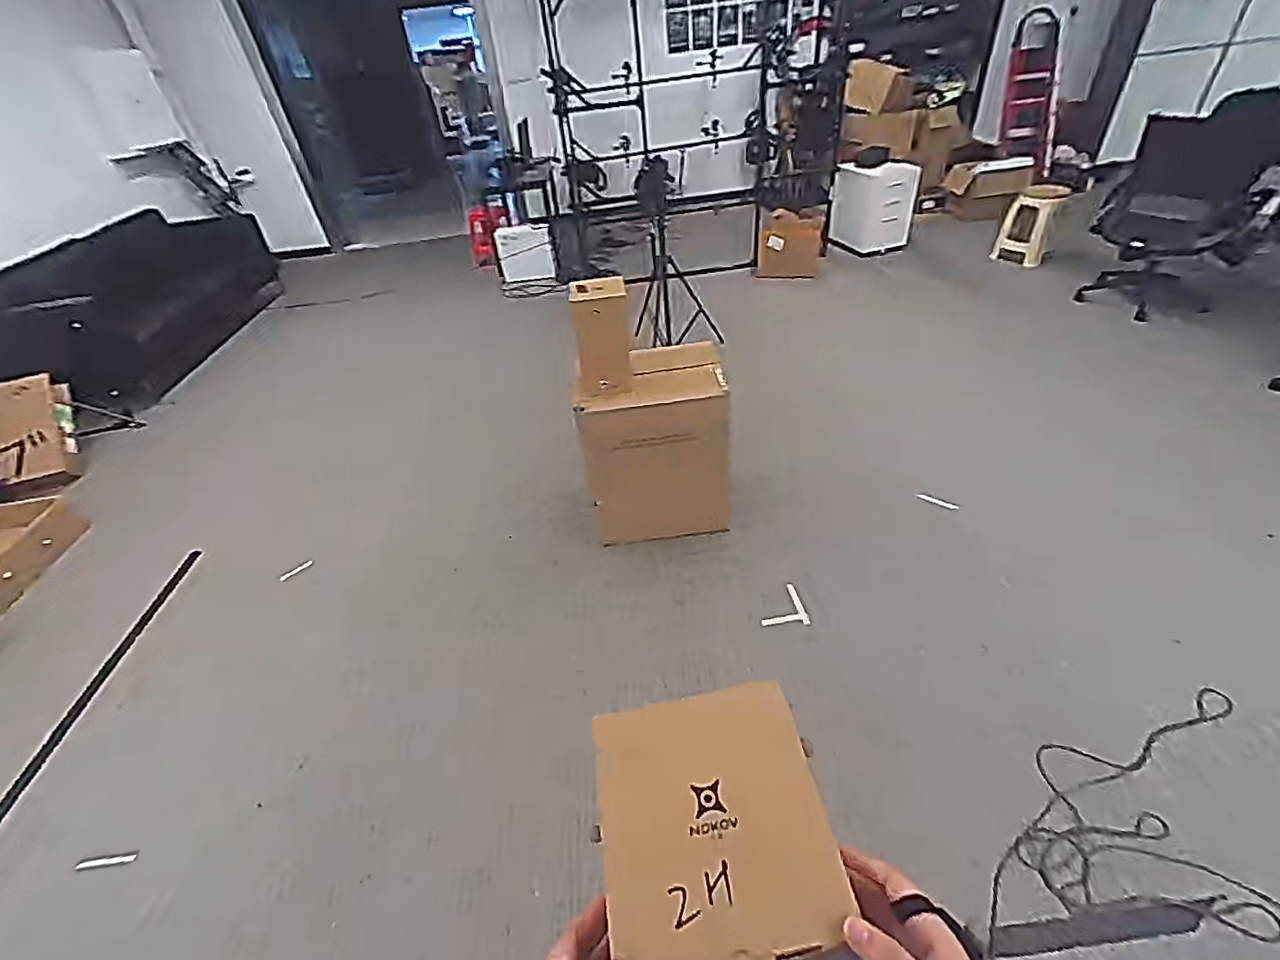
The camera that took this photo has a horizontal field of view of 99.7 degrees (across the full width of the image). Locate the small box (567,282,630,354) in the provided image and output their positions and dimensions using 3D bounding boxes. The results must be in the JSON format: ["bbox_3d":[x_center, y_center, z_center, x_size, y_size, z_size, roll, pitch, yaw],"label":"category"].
[{"bbox_3d":[-0.132,-0.520,1.745,0.179,0.176,0.168,-7,40,-1],"label":"small box"}]

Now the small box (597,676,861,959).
[{"bbox_3d":[0.062,0.299,0.462,0.168,0.176,0.179,-11,44,-1],"label":"small box"}]

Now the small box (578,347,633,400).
[{"bbox_3d":[-0.118,-0.396,1.852,0.168,0.176,0.179,-8,41,0],"label":"small box"}]
